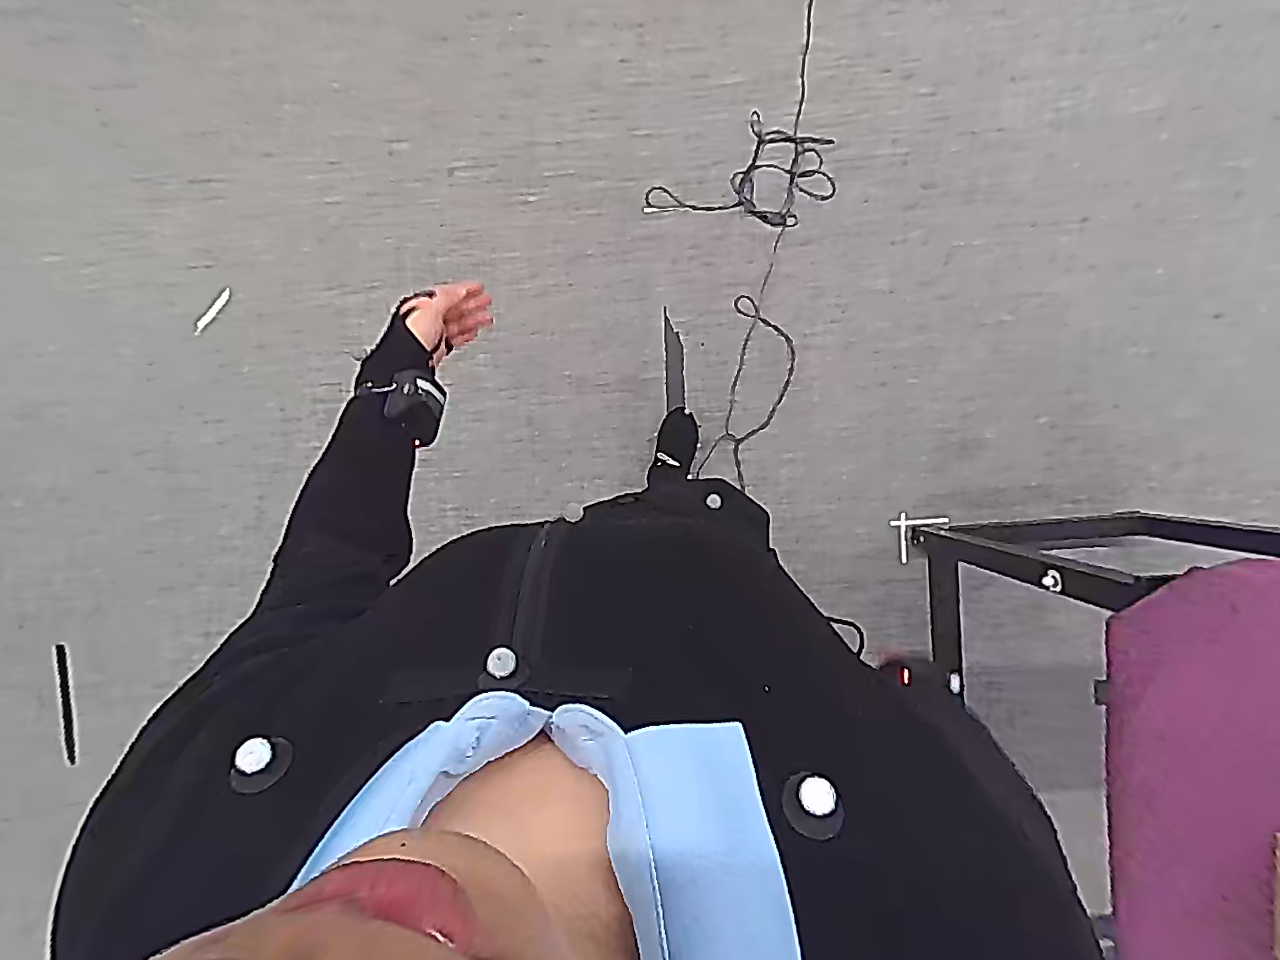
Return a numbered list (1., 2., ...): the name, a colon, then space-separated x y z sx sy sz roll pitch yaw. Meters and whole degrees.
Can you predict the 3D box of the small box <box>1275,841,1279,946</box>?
1. small box: 0.925 0.560 0.639 0.168 0.176 0.179 -2 92 3
